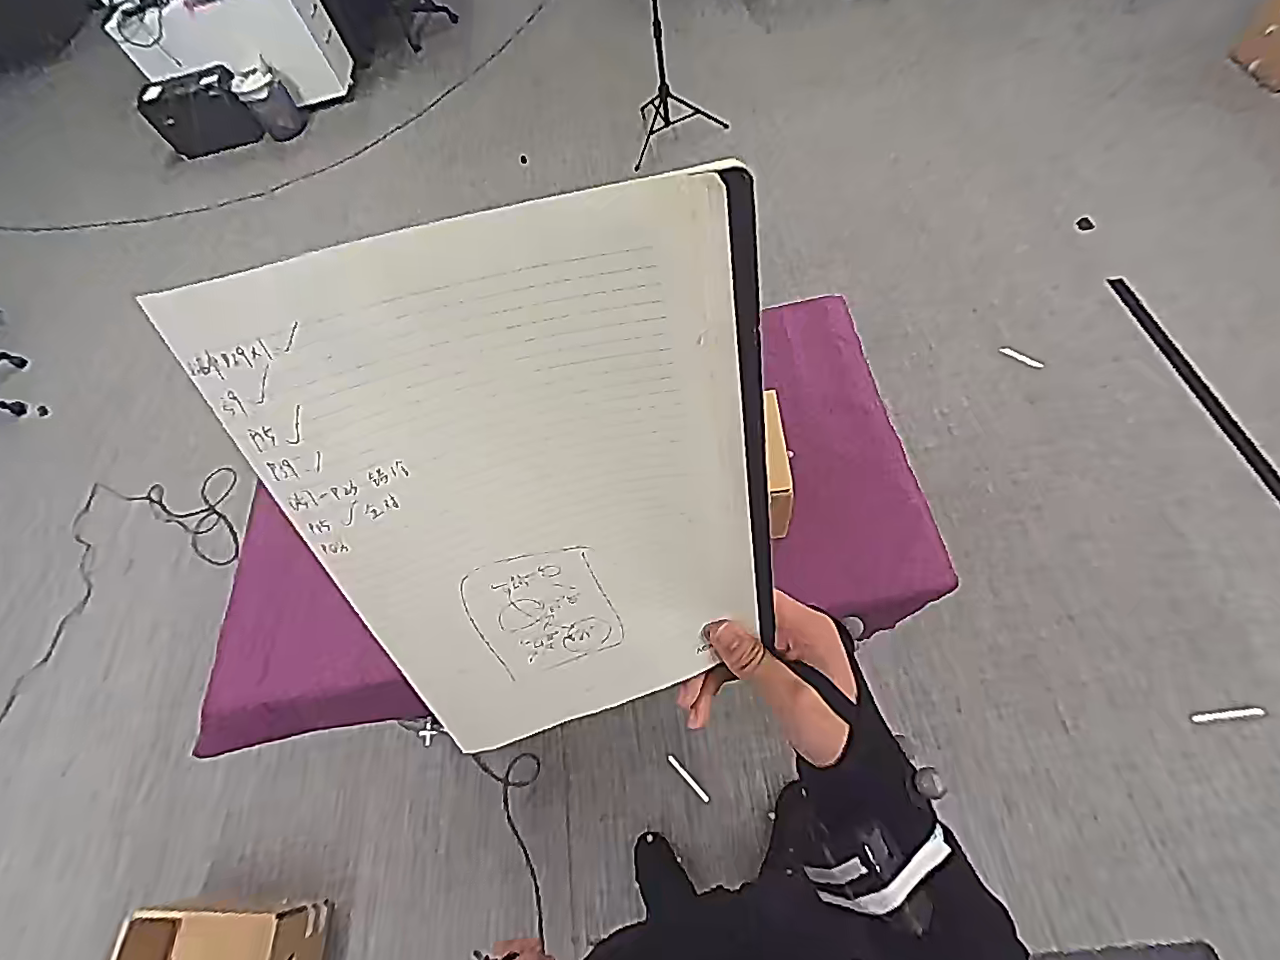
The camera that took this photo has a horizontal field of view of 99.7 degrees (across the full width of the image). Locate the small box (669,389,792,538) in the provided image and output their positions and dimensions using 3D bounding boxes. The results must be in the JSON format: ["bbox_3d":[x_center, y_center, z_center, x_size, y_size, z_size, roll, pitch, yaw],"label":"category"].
[{"bbox_3d":[0.138,-0.016,0.844,0.168,0.176,0.179,-5,61,7],"label":"small box"}]
